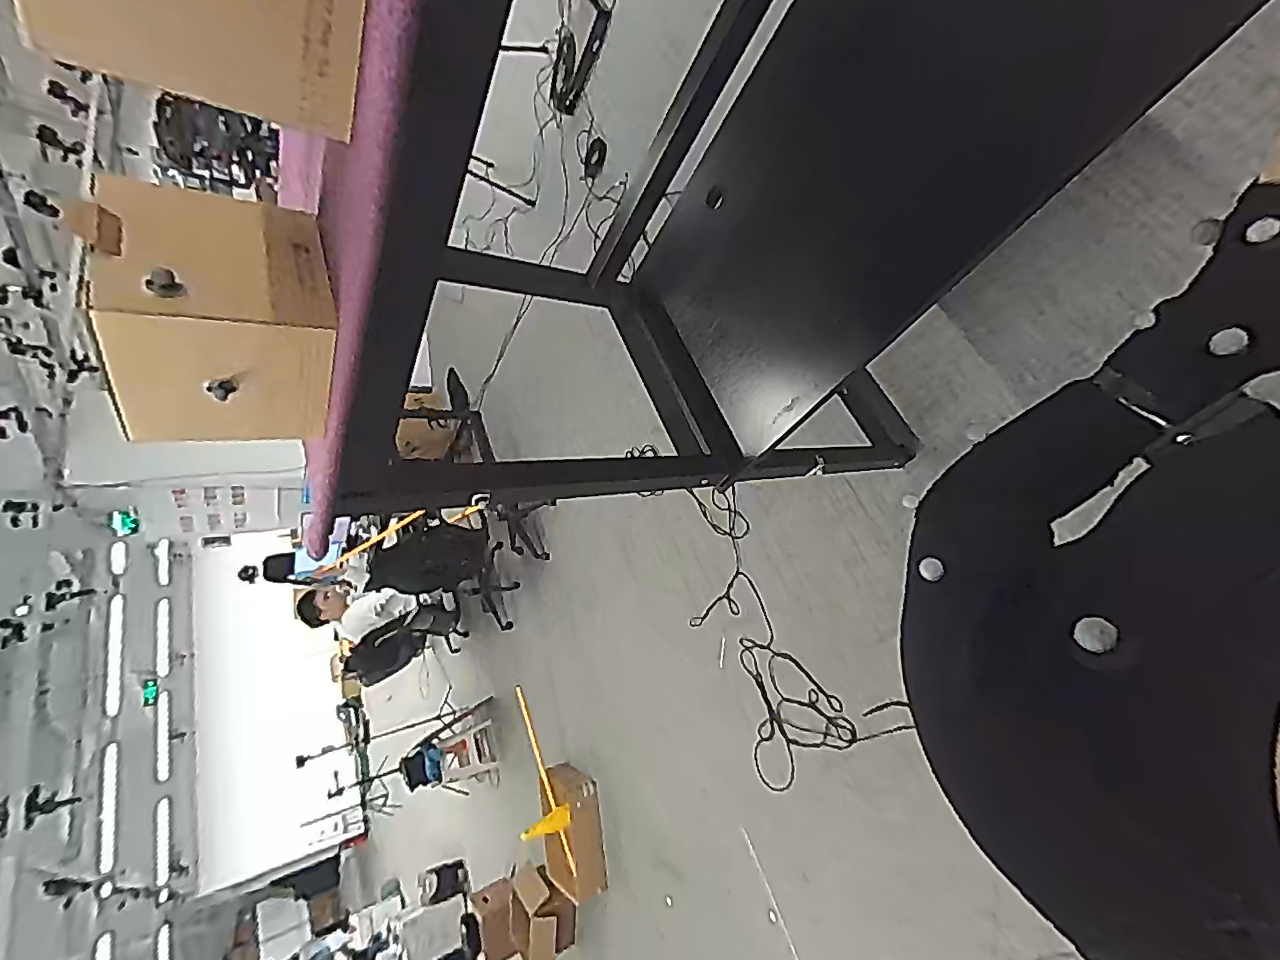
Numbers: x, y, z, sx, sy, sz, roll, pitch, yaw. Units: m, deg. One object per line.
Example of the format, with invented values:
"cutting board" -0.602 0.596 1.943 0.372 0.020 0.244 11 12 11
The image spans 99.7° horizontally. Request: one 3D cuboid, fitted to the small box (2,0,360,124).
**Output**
"small box" -0.273 -0.356 0.329 0.168 0.176 0.179 -47 56 44
